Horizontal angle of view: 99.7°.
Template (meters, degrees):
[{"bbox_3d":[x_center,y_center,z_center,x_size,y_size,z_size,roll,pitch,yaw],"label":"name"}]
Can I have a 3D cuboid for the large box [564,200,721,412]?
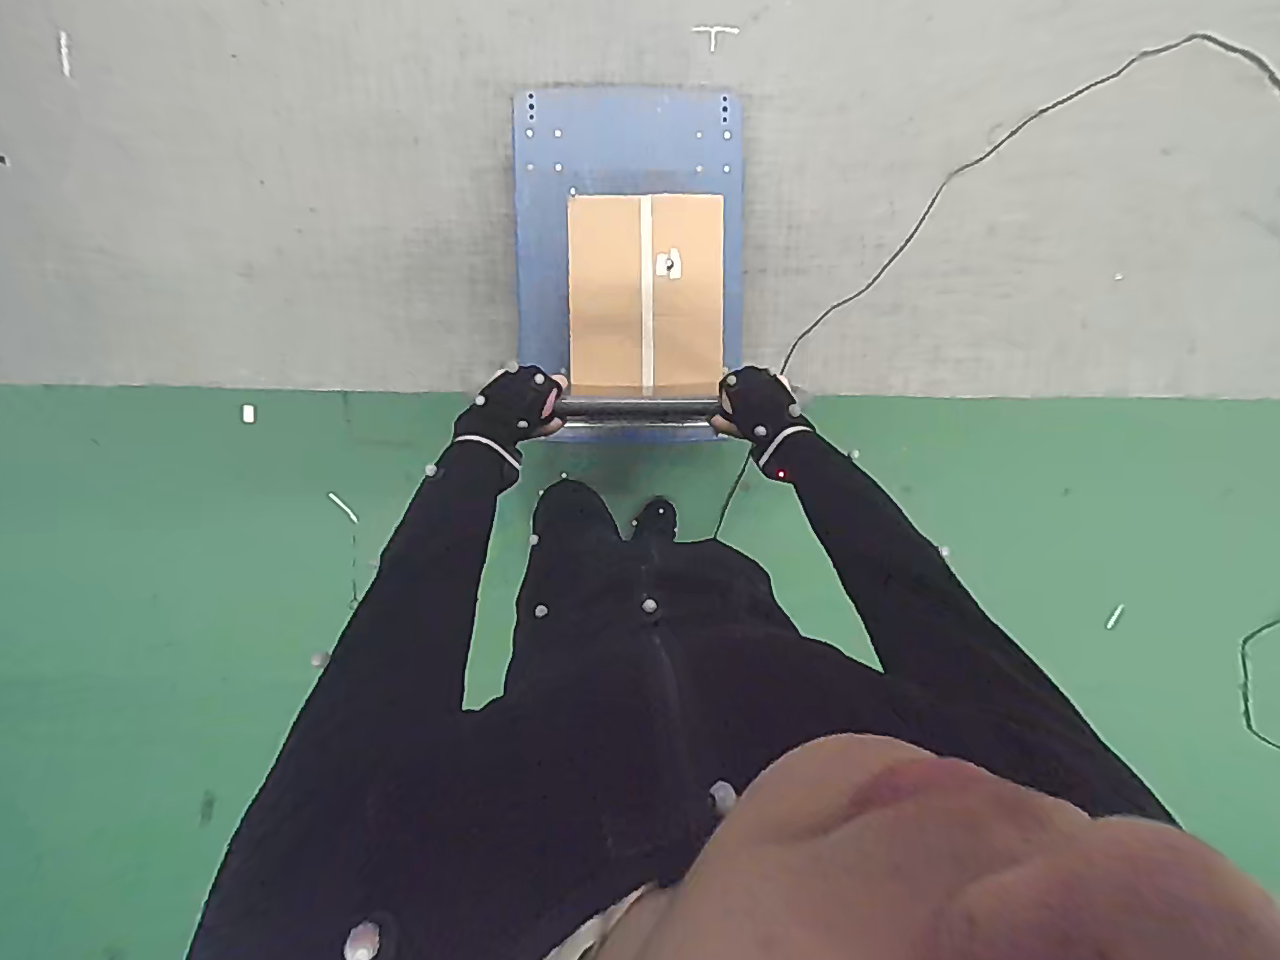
[{"bbox_3d":[0.003,-0.371,1.246,0.320,0.320,0.408,-1,94,-2],"label":"large box"}]
